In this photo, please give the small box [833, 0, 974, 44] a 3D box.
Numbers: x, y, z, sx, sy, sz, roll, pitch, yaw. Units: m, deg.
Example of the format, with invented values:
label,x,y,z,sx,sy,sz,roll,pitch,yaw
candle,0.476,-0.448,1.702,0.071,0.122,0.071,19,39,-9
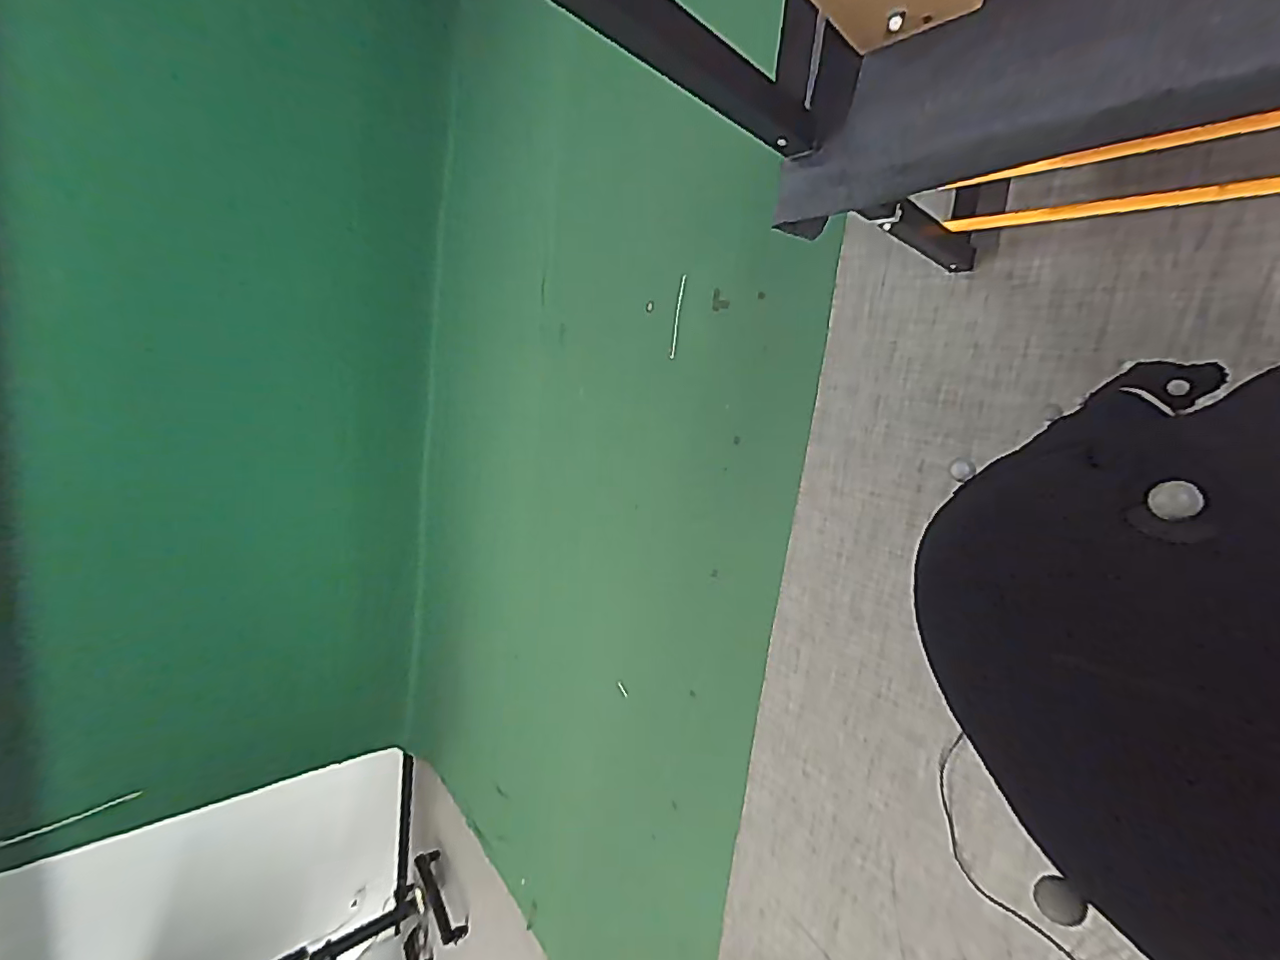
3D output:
label,x,y,z,sx,sy,sz,roll,pitch,yaw
small box,0.338,-0.716,0.685,0.168,0.176,0.179,16,104,47
